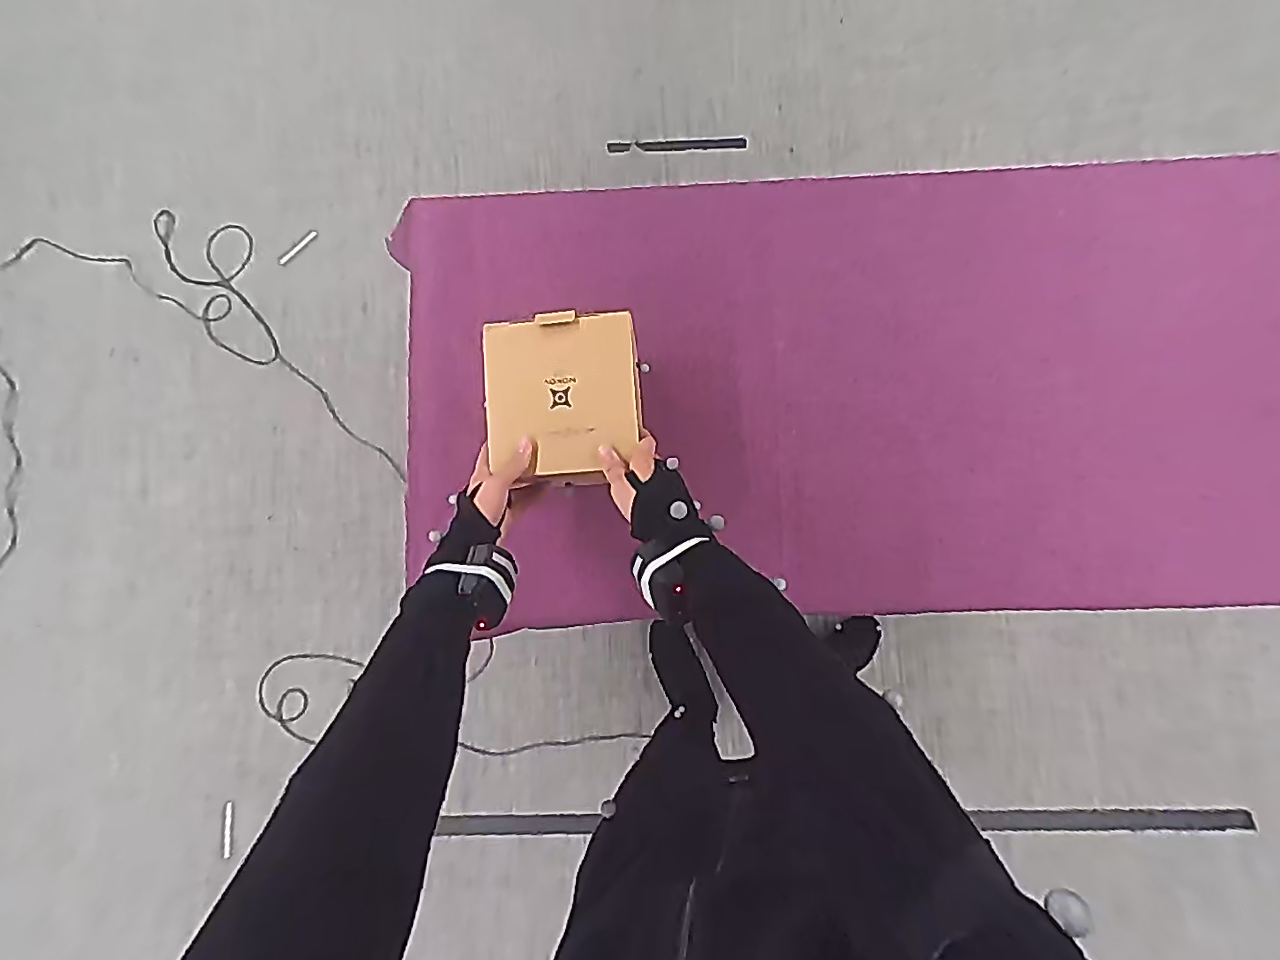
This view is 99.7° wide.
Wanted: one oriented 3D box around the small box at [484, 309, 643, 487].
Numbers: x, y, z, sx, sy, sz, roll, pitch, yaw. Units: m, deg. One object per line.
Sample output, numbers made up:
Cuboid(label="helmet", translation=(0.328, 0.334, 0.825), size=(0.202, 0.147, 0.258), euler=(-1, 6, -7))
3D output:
Cuboid(label="small box", translation=(-0.083, -0.088, 0.656), size=(0.168, 0.176, 0.179), euler=(-3, 85, 2))
